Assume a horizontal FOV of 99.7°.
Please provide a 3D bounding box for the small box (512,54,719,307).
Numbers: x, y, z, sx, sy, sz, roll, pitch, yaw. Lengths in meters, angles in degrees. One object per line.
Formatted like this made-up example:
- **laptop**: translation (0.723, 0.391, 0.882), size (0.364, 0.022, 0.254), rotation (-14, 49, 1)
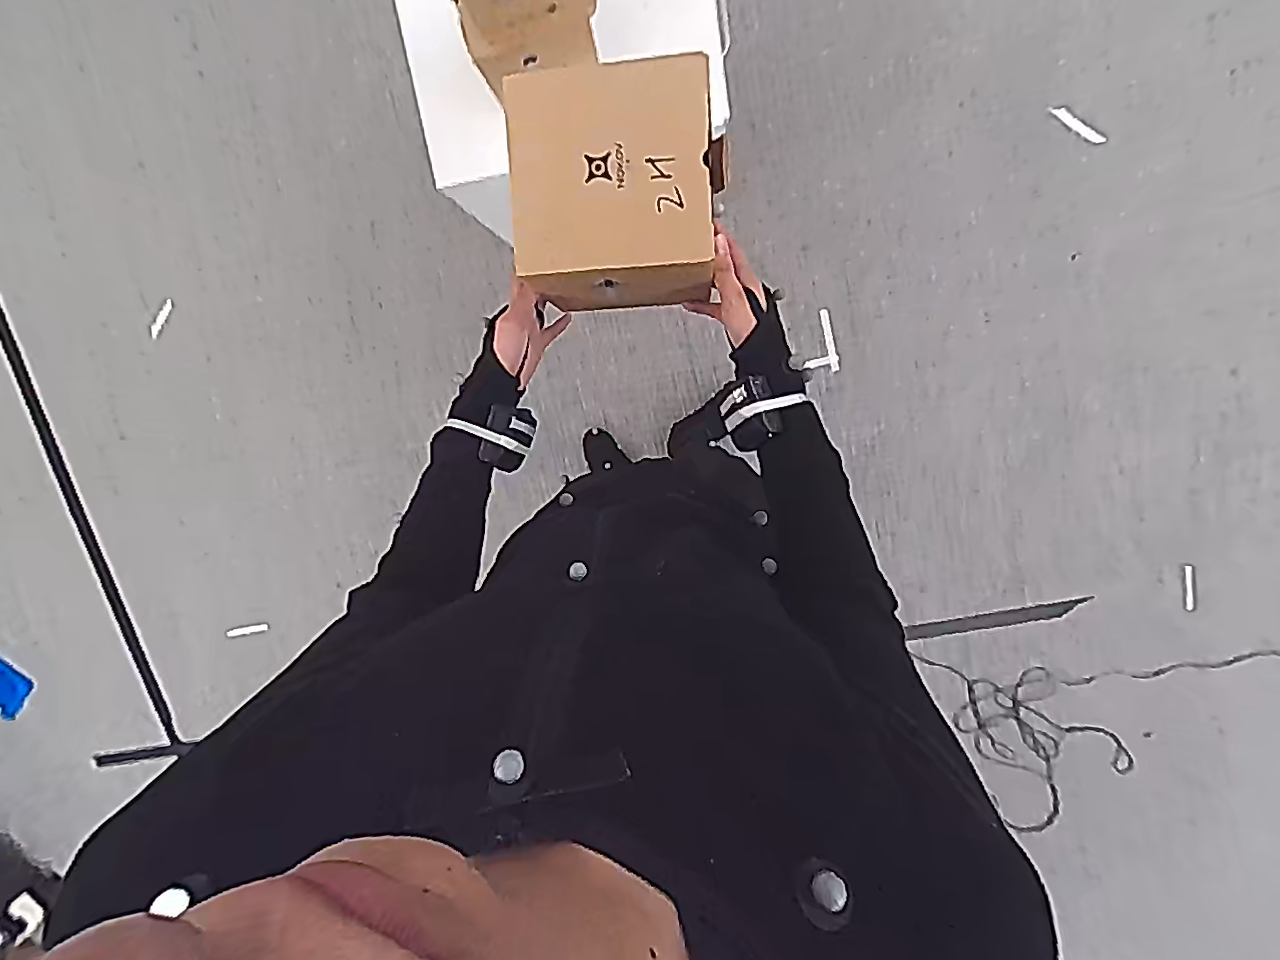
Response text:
- **small box**: translation (-0.013, -0.274, 0.537), size (0.179, 0.176, 0.168), rotation (-1, 97, 5)

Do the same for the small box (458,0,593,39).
- **small box**: translation (-0.164, -0.688, 0.659), size (0.168, 0.176, 0.179), rotation (-14, 99, 6)

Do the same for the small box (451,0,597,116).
- **small box**: translation (-0.173, -0.698, 0.823), size (0.179, 0.176, 0.168), rotation (-17, 99, 6)
